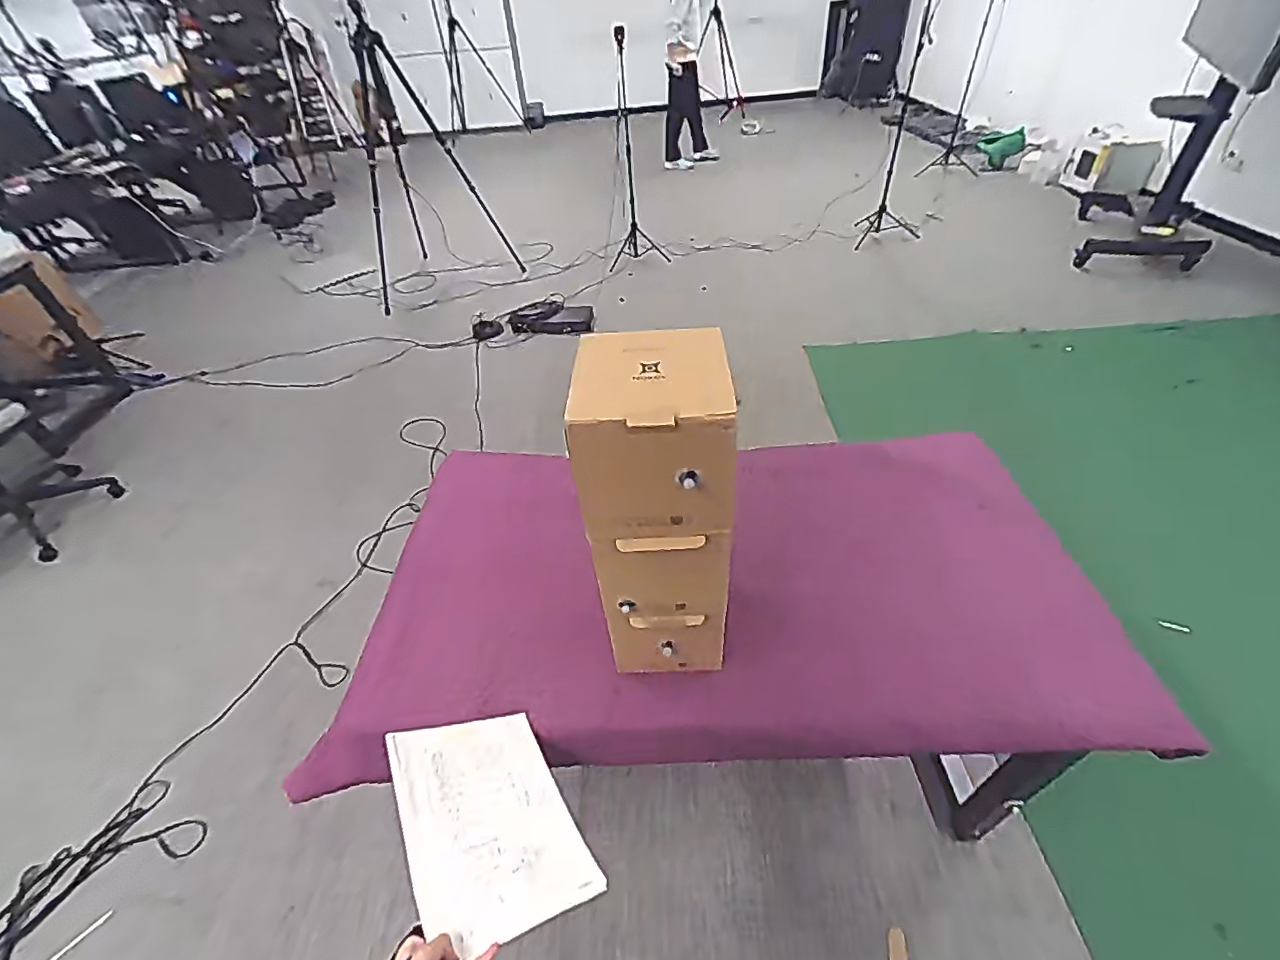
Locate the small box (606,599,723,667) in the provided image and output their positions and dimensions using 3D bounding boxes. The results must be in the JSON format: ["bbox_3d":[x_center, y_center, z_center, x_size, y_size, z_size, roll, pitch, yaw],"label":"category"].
[{"bbox_3d":[0.042,0.181,0.854,0.168,0.176,0.179,-2,43,3],"label":"small box"}]

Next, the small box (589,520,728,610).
[{"bbox_3d":[0.030,0.064,0.738,0.168,0.176,0.179,-3,41,3],"label":"small box"}]

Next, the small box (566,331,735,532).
[{"bbox_3d":[0.018,-0.052,0.625,0.168,0.176,0.179,-2,42,3],"label":"small box"}]
